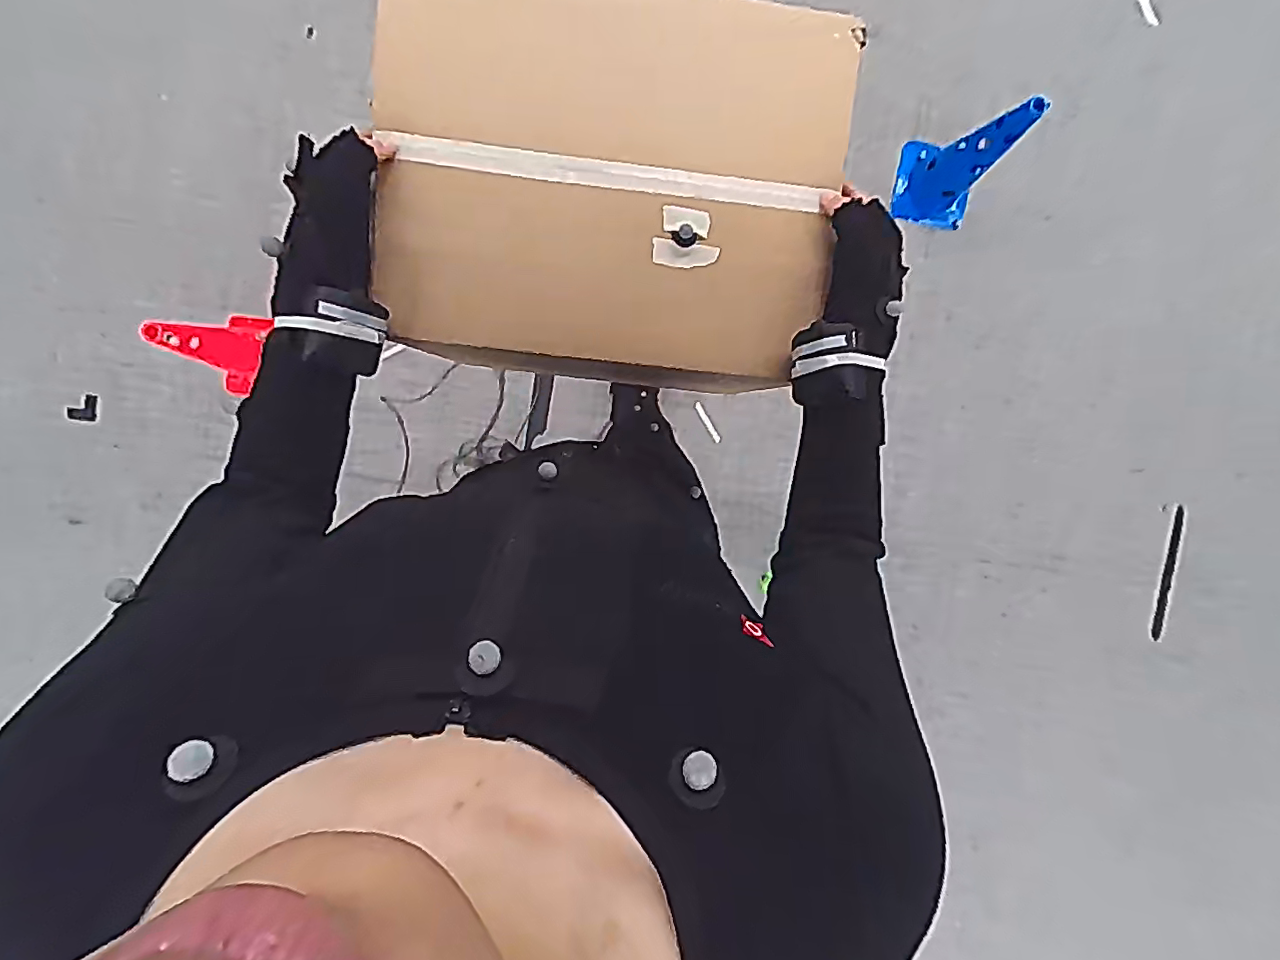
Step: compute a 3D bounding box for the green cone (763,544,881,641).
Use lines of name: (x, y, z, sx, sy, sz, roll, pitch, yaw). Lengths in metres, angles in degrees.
green cone: (0.474, 0.315, 1.322, 0.202, 0.368, 0.200, -29, 96, -2)

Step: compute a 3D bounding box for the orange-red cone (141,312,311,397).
orange-red cone: (-0.930, -0.298, 1.197, 0.198, 0.360, 0.199, 6, 96, -3)

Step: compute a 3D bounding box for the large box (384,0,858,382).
large box: (-0.029, -0.293, 0.621, 0.408, 0.320, 0.320, 5, 97, -5)

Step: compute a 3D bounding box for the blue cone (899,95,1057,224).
blue cone: (0.795, -0.769, 1.263, 0.192, 0.380, 0.193, 12, 94, -5)
